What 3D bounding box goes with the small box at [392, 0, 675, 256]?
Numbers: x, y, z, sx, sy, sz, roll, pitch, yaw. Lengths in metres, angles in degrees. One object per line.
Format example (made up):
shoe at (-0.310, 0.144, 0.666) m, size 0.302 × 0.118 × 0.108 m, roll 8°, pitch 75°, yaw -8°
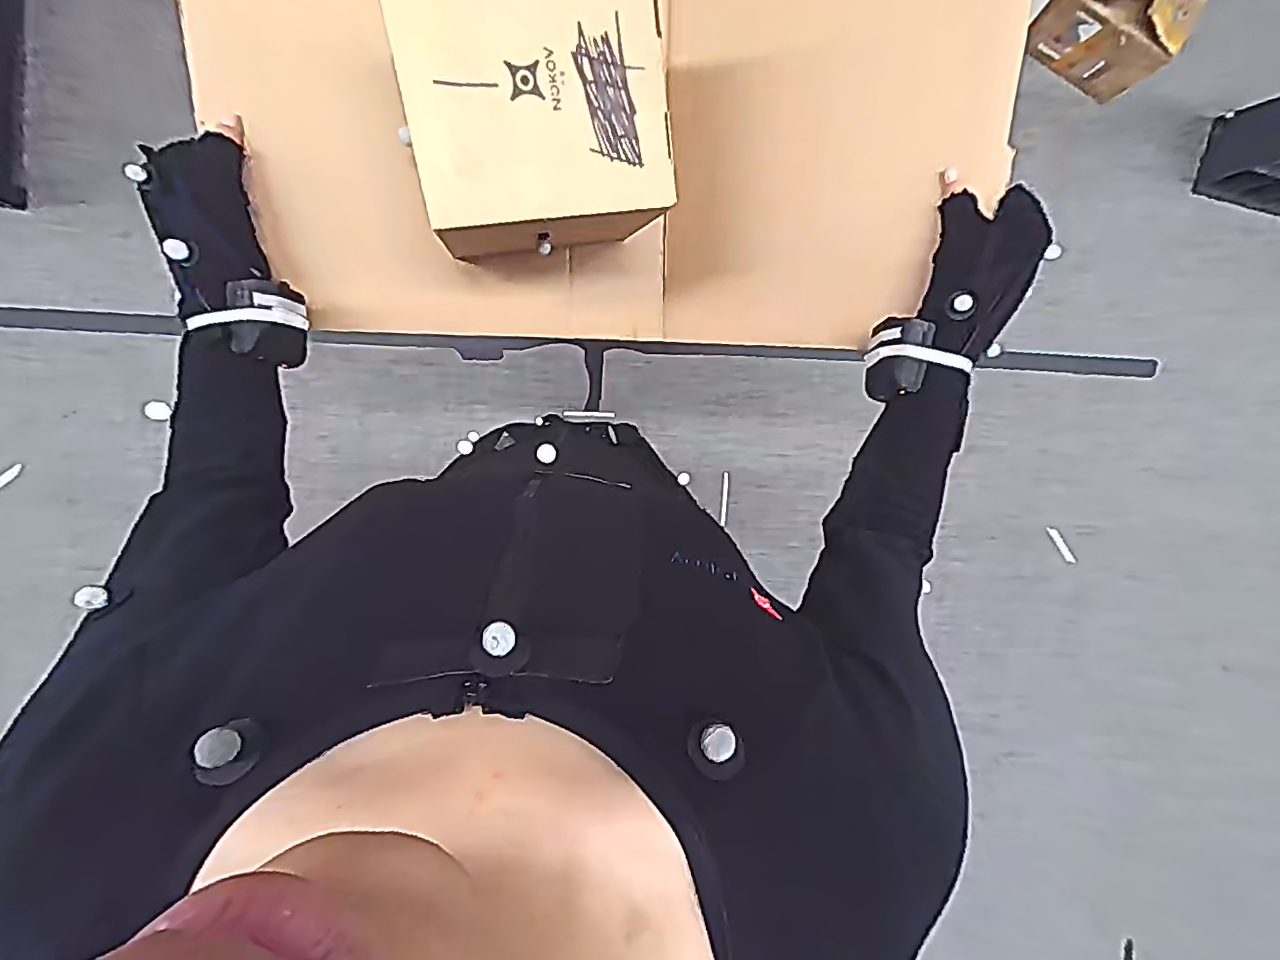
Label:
small box at (-0.084, -0.285, 0.440) m, size 0.179 × 0.176 × 0.168 m, roll -10°, pitch 108°, yaw -11°
